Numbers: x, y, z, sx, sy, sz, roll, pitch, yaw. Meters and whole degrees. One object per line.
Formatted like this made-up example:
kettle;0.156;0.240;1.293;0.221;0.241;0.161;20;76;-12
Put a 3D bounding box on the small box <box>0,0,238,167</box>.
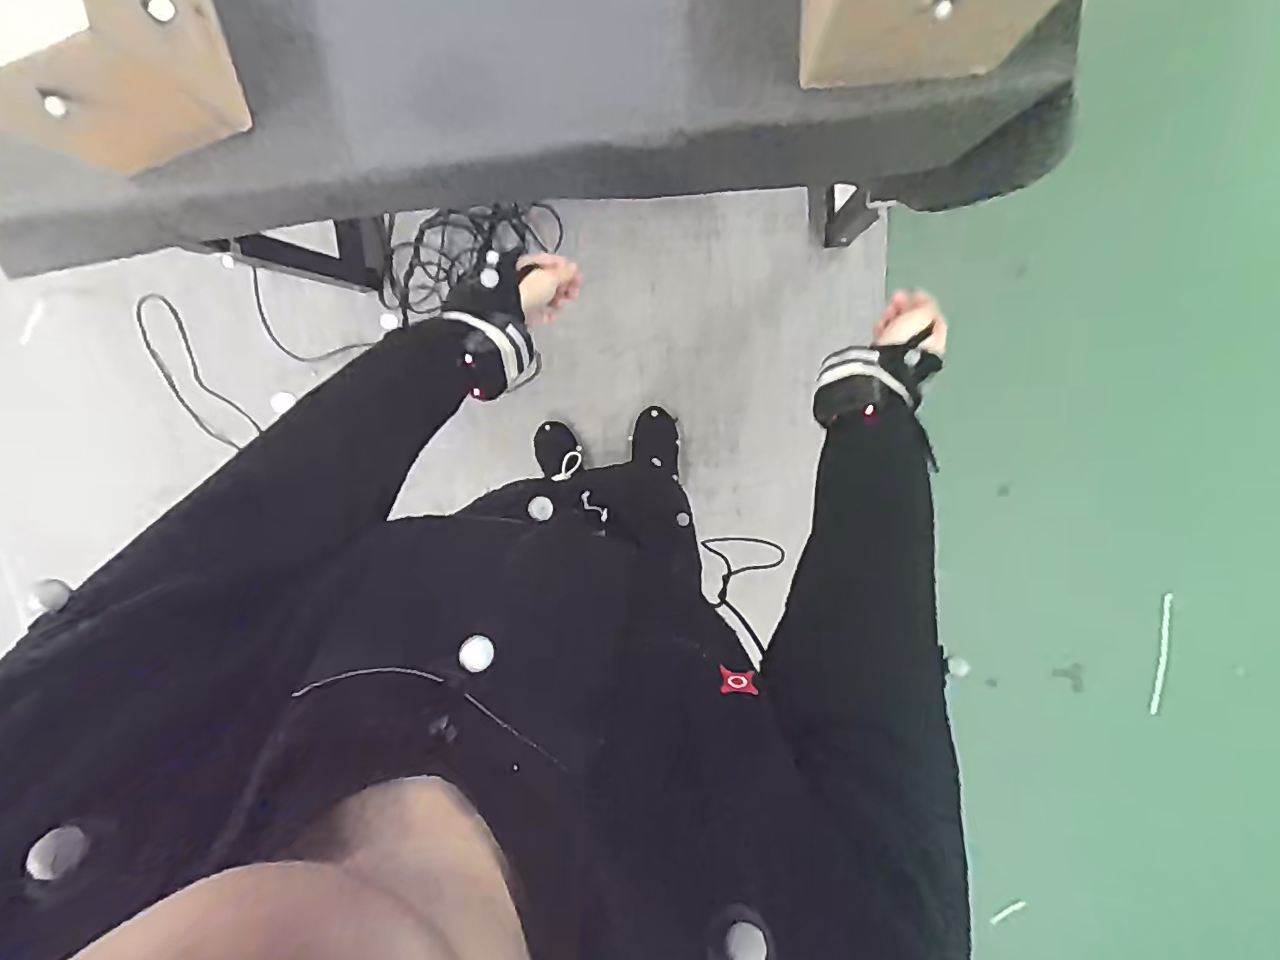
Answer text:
small box;-0.526;-0.430;0.505;0.179;0.176;0.168;-14;98;8
